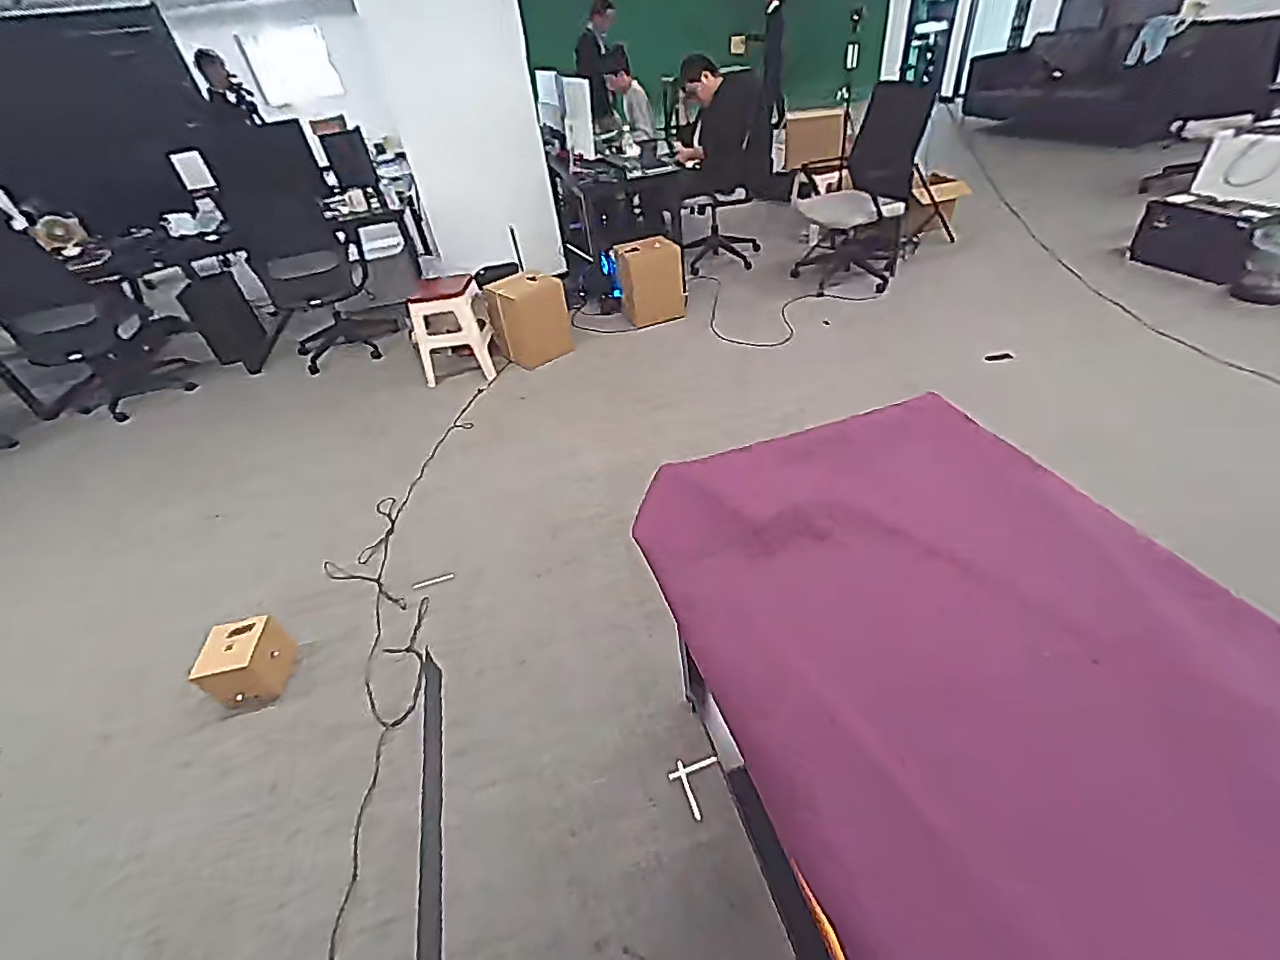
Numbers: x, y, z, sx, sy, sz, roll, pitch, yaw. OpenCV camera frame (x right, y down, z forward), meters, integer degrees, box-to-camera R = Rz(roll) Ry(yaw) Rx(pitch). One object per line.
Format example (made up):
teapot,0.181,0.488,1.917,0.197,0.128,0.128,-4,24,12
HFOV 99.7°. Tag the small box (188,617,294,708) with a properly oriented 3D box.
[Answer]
small box,-1.158,0.538,1.590,0.168,0.176,0.179,-12,41,-3
